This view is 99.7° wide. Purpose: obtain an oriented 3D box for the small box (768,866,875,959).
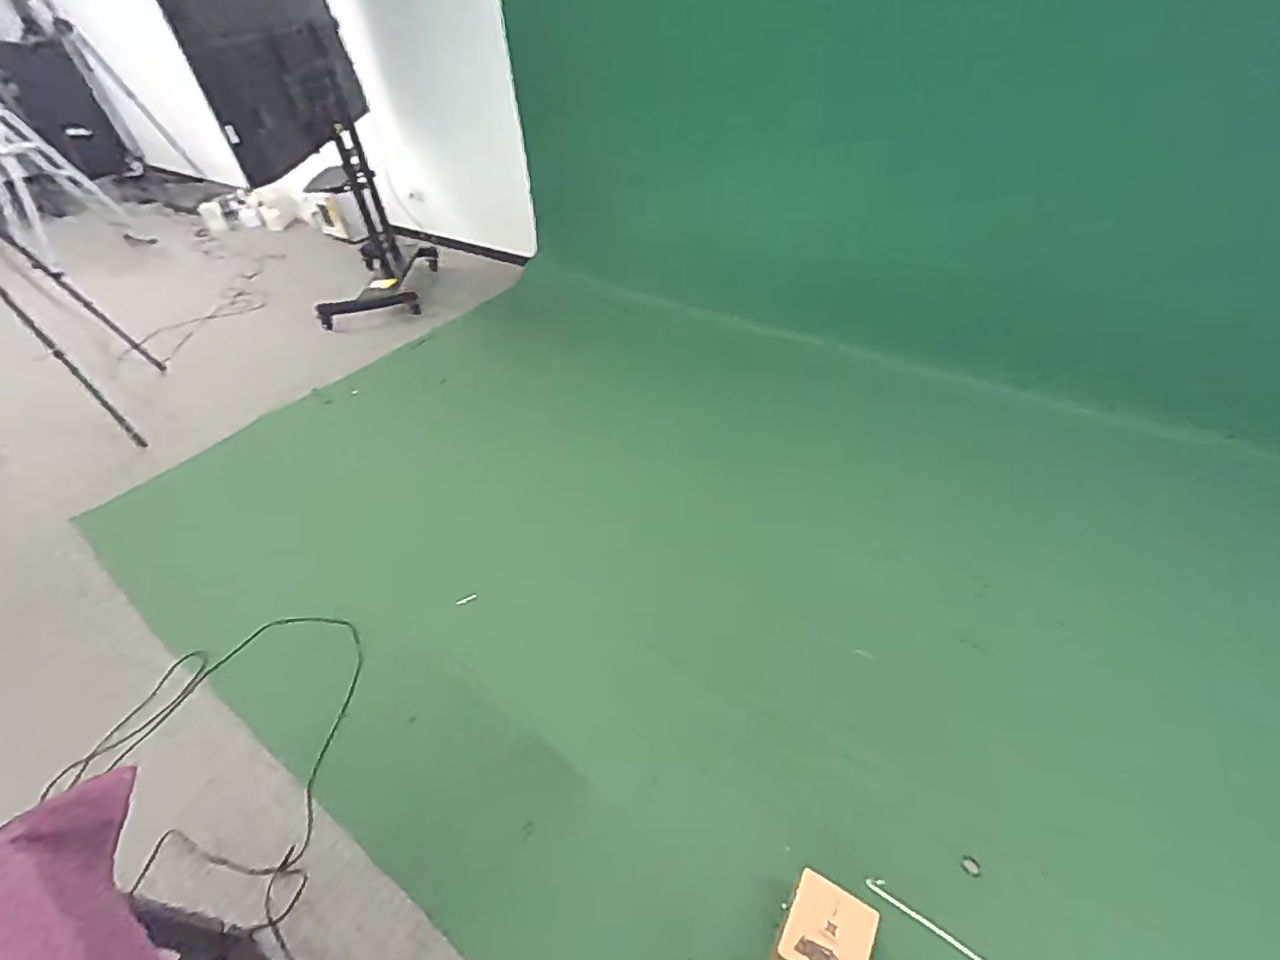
[{"bbox_3d":[0.391,1.004,1.184,0.168,0.176,0.179,22,48,24],"label":"small box"}]
